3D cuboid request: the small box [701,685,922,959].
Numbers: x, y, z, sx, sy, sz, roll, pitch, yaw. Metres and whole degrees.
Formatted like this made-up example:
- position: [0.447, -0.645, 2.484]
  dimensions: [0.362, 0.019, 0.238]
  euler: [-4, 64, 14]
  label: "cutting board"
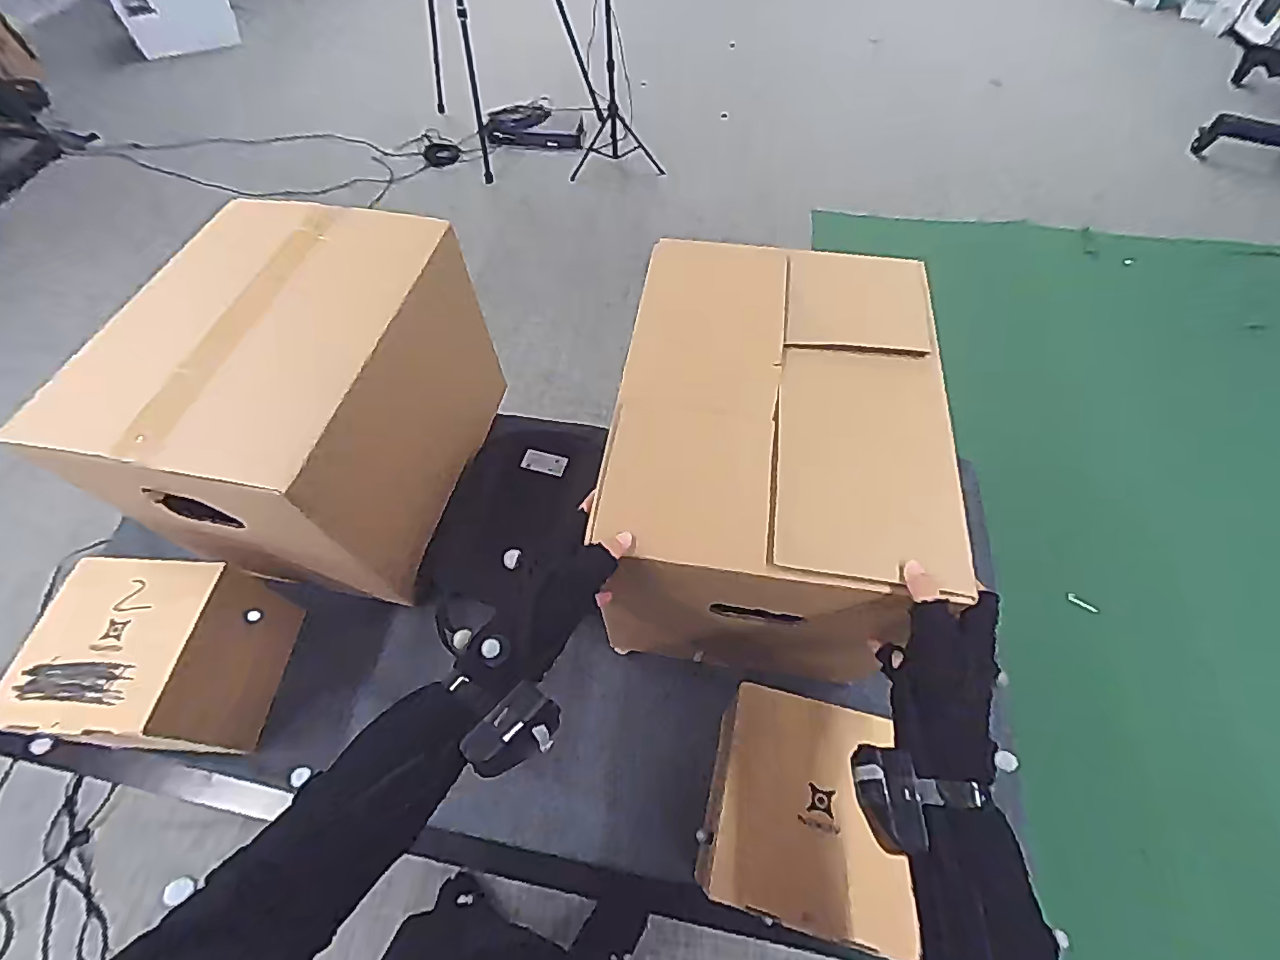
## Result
- position: [0.158, 0.328, 0.534]
  dimensions: [0.168, 0.176, 0.179]
  euler: [12, 60, 9]
  label: "small box"
